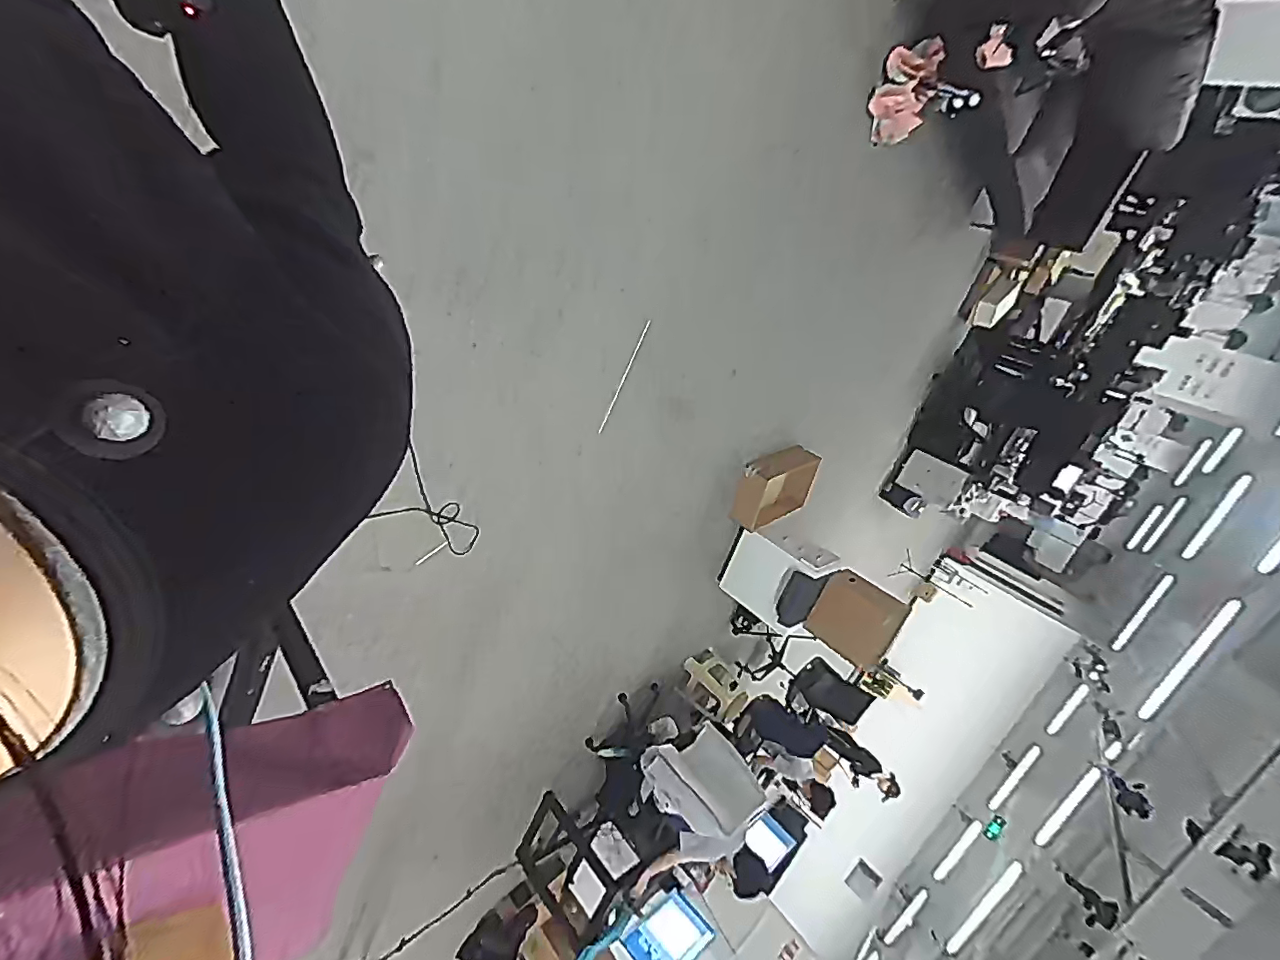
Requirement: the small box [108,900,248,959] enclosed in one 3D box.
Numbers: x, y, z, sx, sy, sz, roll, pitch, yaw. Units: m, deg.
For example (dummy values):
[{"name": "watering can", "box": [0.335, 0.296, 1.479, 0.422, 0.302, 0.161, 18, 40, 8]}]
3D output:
[{"name": "small box", "box": [-0.820, 0.894, 0.948, 0.179, 0.176, 0.168, 27, 97, -53]}]
